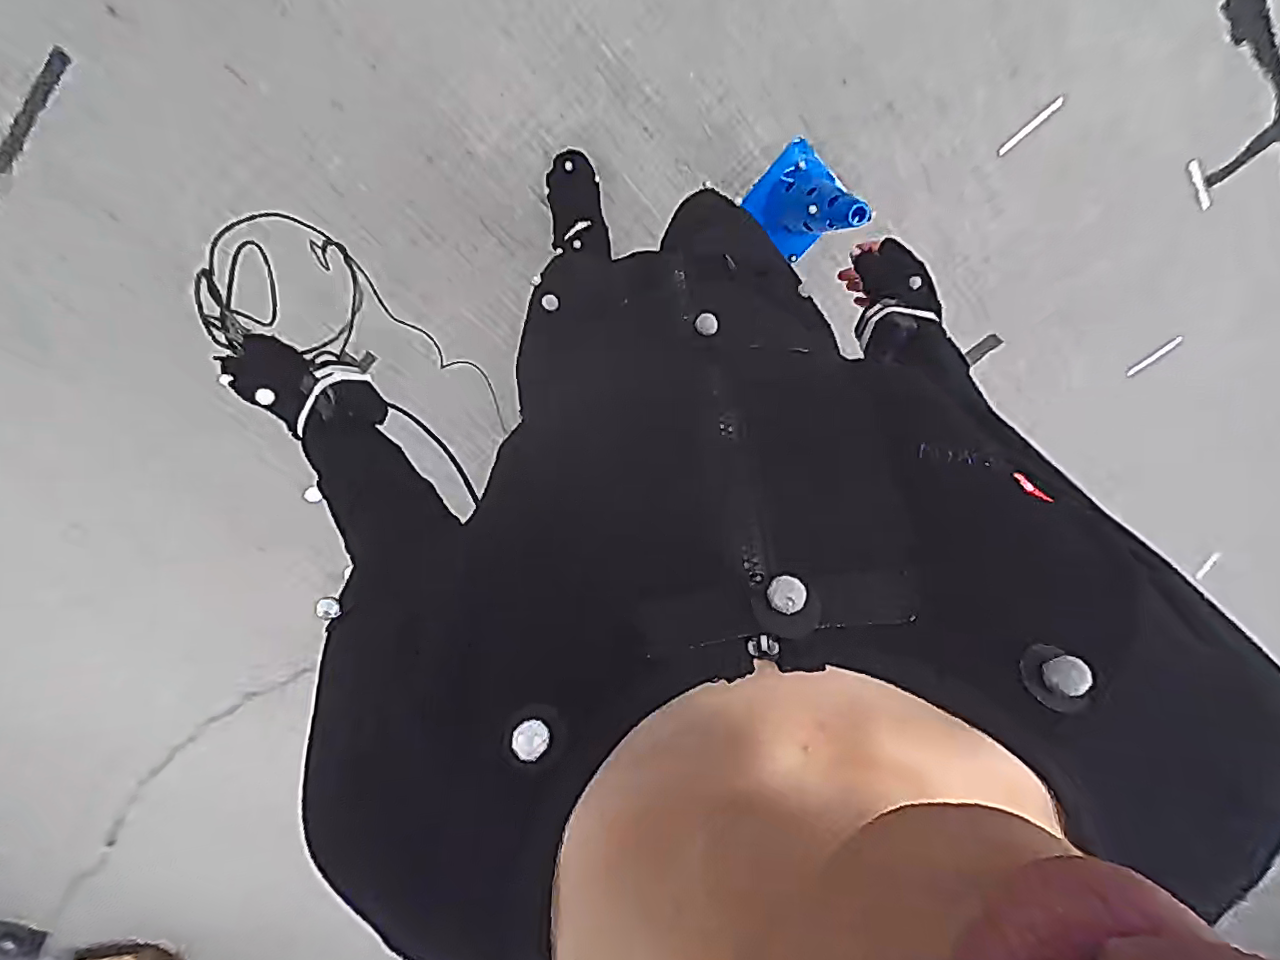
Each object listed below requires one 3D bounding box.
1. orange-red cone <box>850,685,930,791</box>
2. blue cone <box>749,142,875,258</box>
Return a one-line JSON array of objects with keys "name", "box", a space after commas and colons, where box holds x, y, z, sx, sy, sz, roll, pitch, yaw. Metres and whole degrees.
[{"name": "orange-red cone", "box": [1.006, 1.014, 2.085, 0.198, 0.360, 0.199, 36, 110, -23]}, {"name": "blue cone", "box": [0.377, -0.561, 1.108, 0.192, 0.380, 0.193, 36, 111, -23]}]
